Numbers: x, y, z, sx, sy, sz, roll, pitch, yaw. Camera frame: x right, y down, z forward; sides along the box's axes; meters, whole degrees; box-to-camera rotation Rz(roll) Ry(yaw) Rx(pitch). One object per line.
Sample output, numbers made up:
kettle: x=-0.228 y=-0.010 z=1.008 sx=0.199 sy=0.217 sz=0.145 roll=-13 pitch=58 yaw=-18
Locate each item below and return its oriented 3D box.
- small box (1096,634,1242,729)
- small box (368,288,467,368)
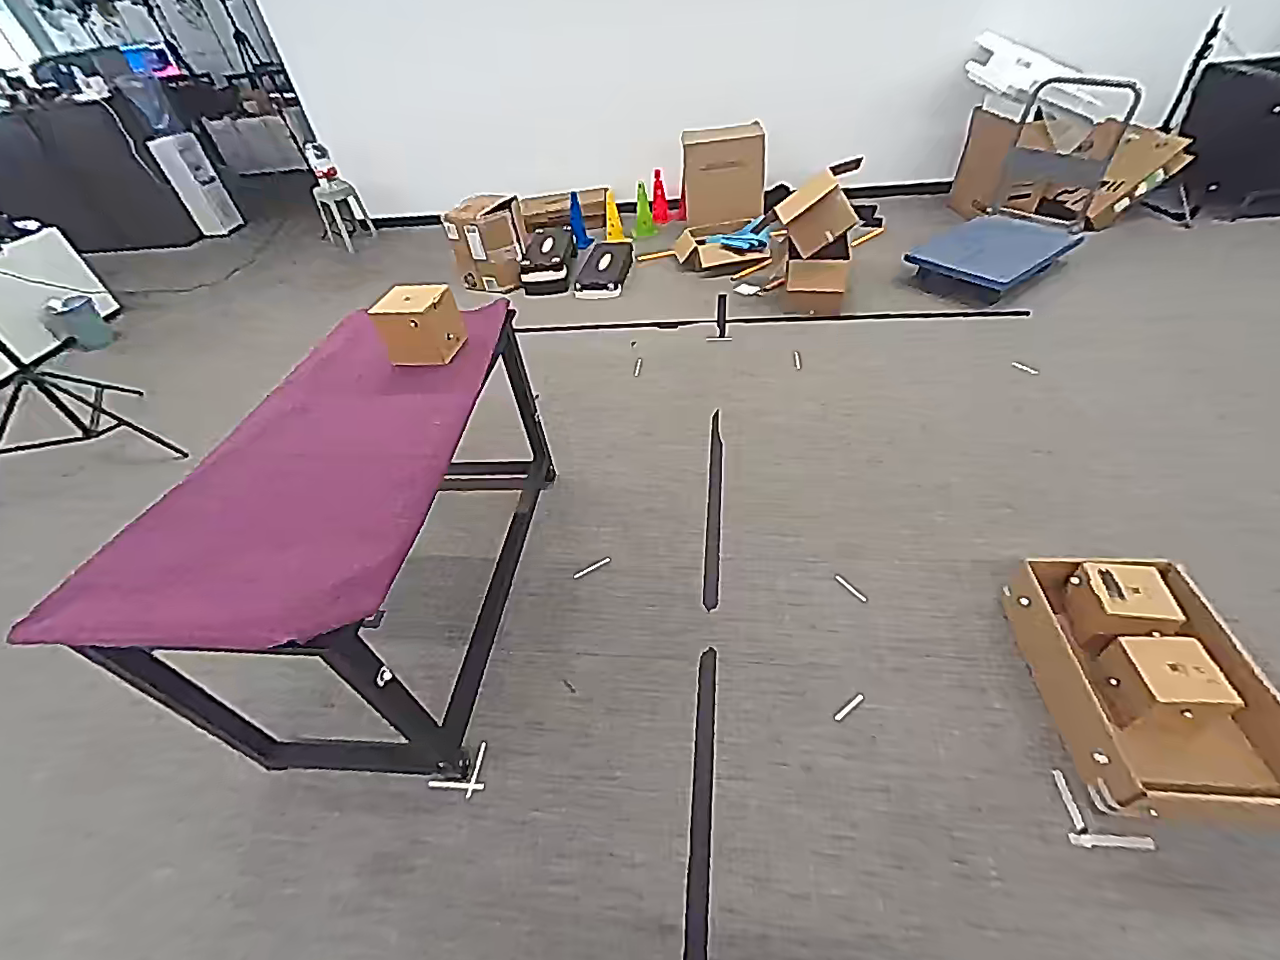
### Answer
small box: x=1.267 y=0.494 z=1.321 sx=0.179 sy=0.176 sz=0.168 roll=-1 pitch=44 yaw=7
small box: x=-0.633 y=-0.435 z=1.560 sx=0.179 sy=0.176 sz=0.168 roll=2 pitch=45 yaw=12
